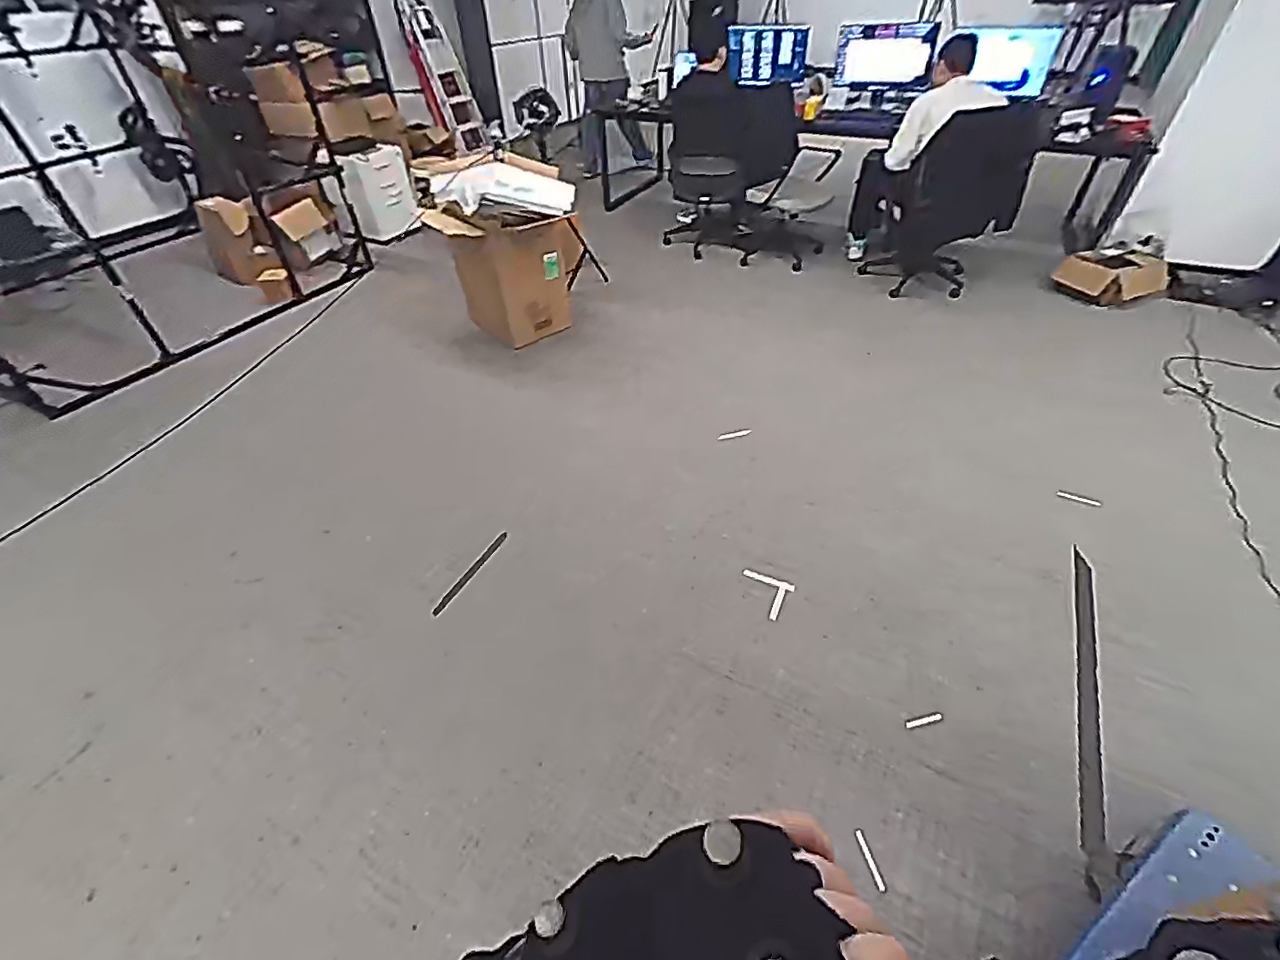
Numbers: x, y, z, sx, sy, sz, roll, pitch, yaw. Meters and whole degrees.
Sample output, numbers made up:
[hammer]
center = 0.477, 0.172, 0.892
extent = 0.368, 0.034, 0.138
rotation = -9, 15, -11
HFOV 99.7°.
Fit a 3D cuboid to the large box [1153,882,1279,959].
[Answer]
[large box]
center = 1.019, 0.874, 0.740
extent = 0.320, 0.320, 0.408
rotation = -35, 53, -29
